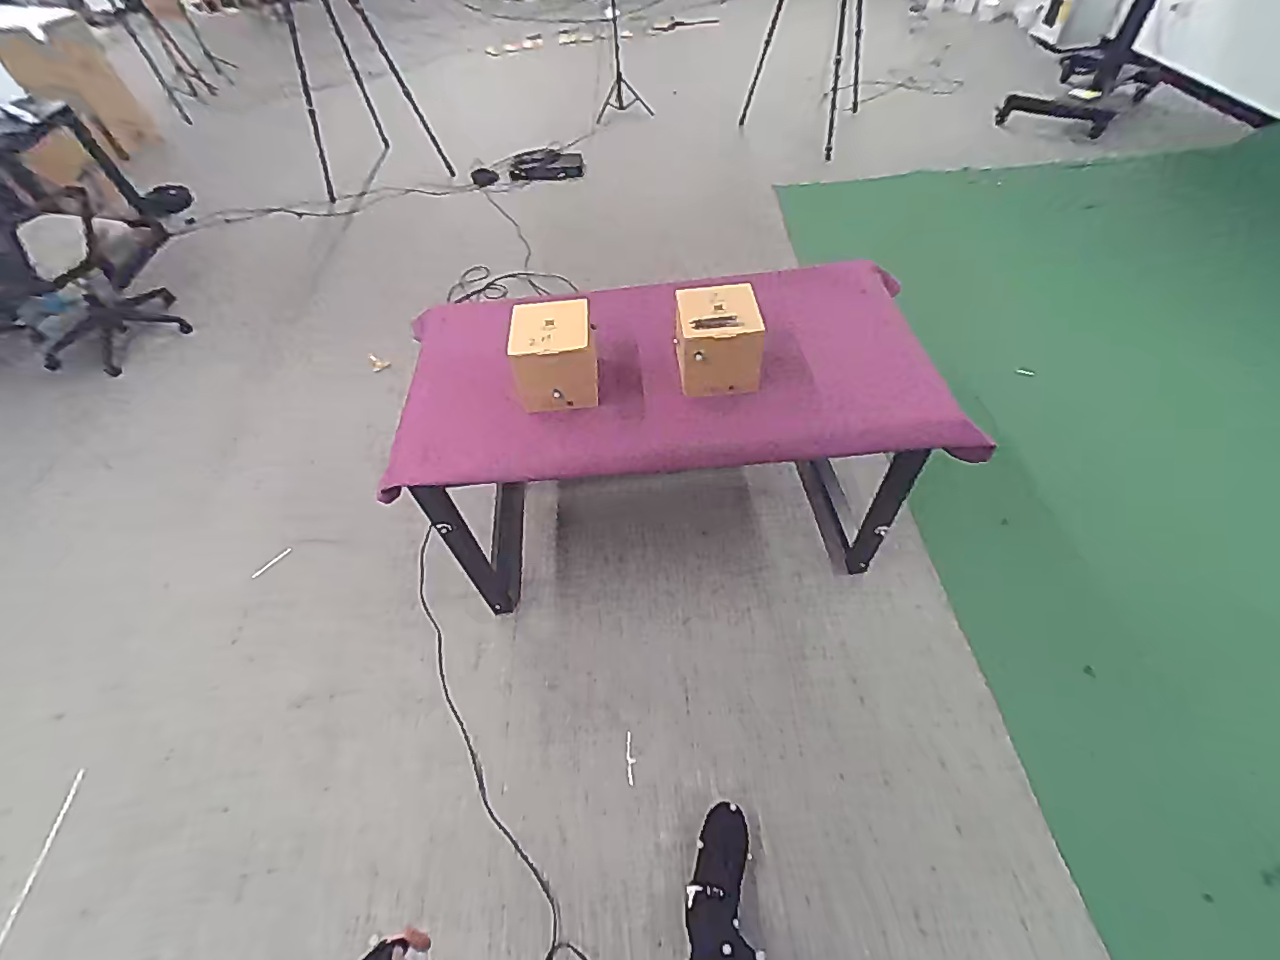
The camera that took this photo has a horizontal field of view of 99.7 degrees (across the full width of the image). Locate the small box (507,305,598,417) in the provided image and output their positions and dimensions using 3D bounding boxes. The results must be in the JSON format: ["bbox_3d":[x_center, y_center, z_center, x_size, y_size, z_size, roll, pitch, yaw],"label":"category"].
[{"bbox_3d":[-0.186,-0.262,1.197,0.168,0.176,0.179,-5,52,1],"label":"small box"}]
